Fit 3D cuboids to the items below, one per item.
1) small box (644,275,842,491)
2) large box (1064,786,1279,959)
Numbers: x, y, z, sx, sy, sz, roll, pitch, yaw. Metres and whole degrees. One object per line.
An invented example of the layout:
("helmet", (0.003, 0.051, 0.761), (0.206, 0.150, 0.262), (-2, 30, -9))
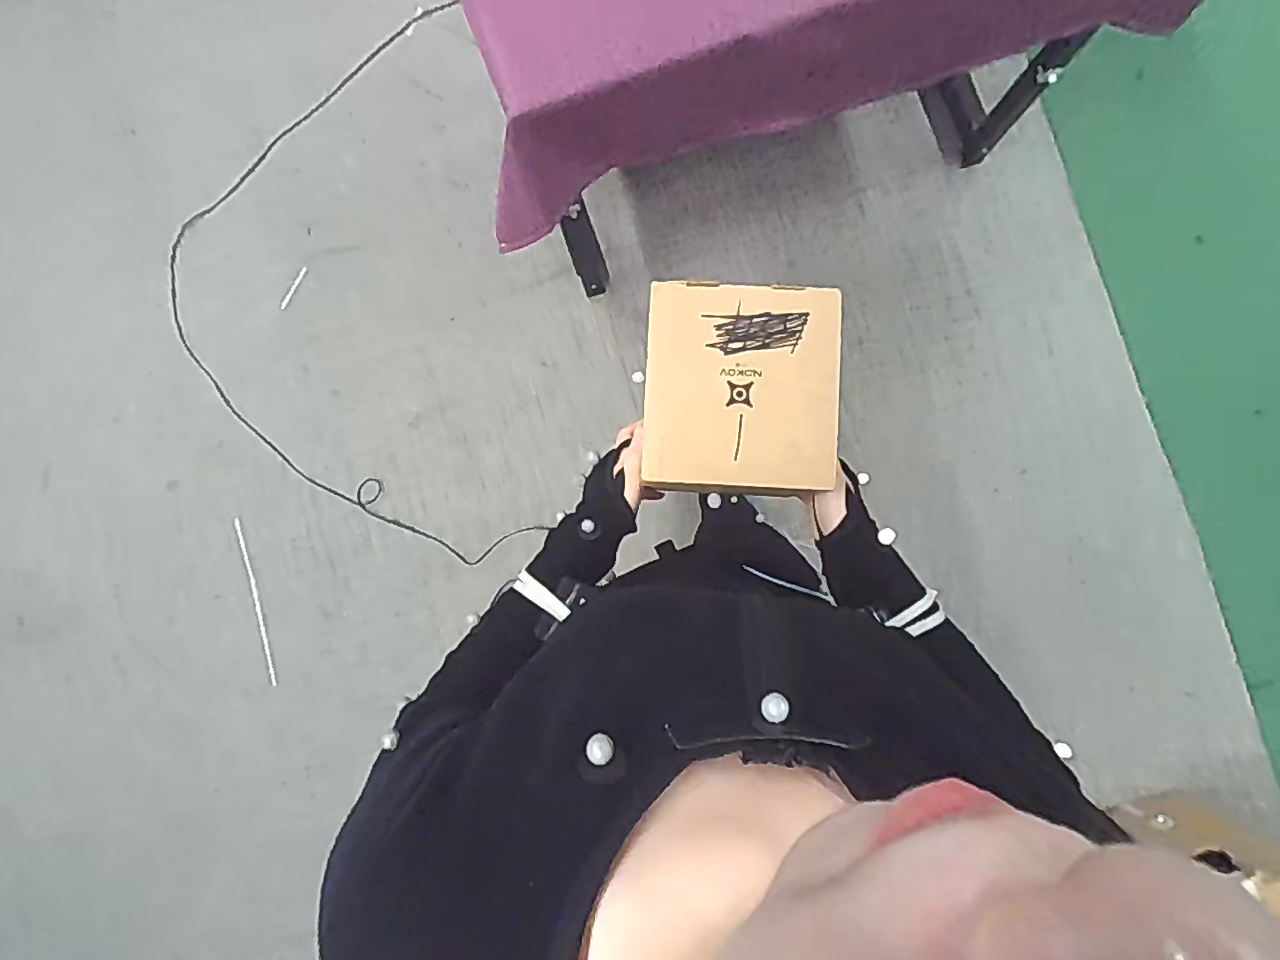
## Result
("small box", (0.090, -0.083, 0.541), (0.168, 0.176, 0.179), (3, 87, 2))
("large box", (1.289, 1.010, 1.240), (0.320, 0.320, 0.408), (-17, 87, 1))
